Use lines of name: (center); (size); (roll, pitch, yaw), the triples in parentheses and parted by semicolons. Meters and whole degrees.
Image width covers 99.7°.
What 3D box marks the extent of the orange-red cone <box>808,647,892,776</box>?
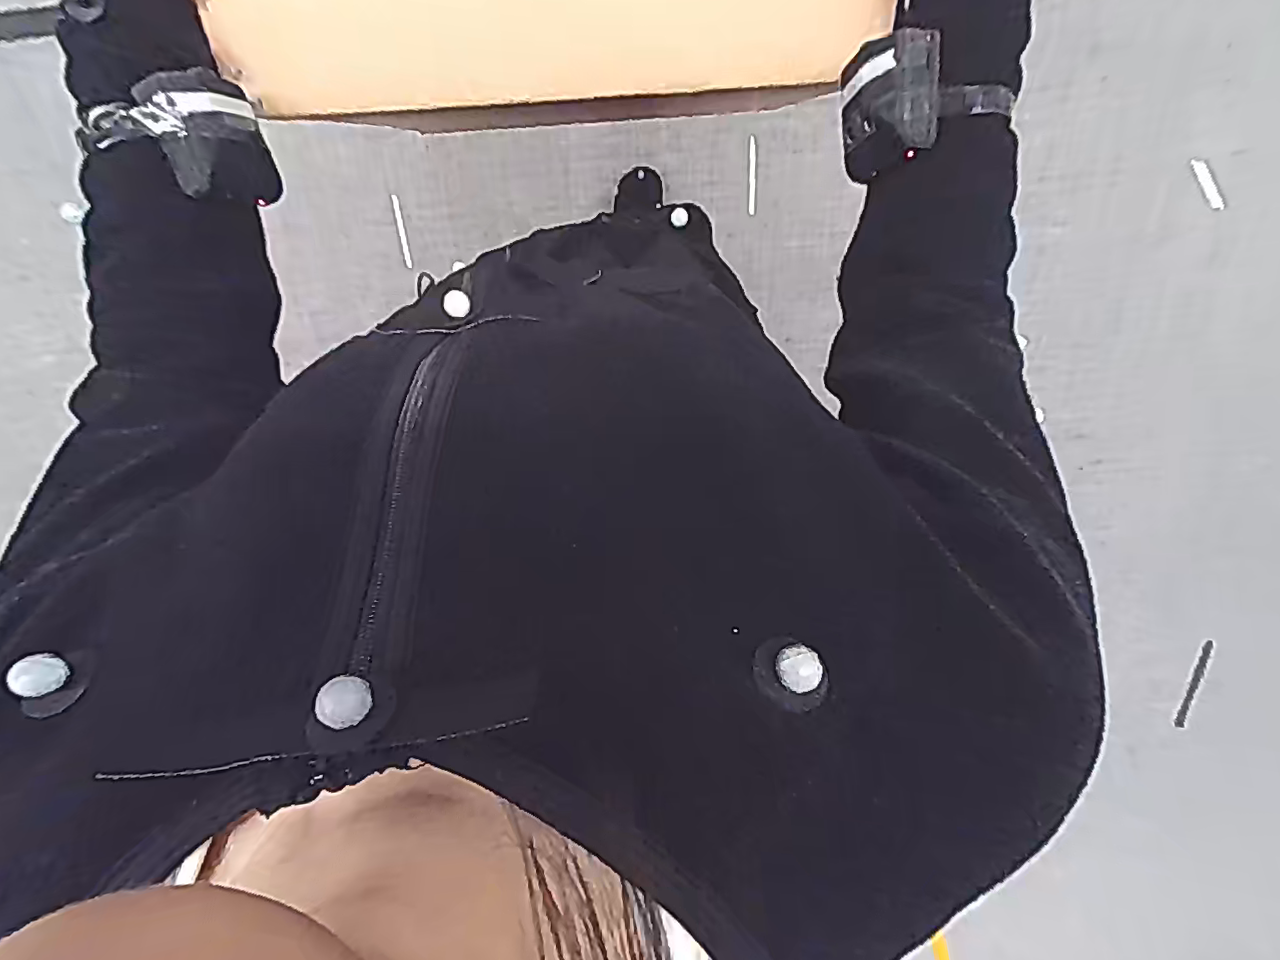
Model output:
orange-red cone: (0.643, 0.690, 1.573); (0.199, 0.360, 0.198); (-12, 113, 4)
